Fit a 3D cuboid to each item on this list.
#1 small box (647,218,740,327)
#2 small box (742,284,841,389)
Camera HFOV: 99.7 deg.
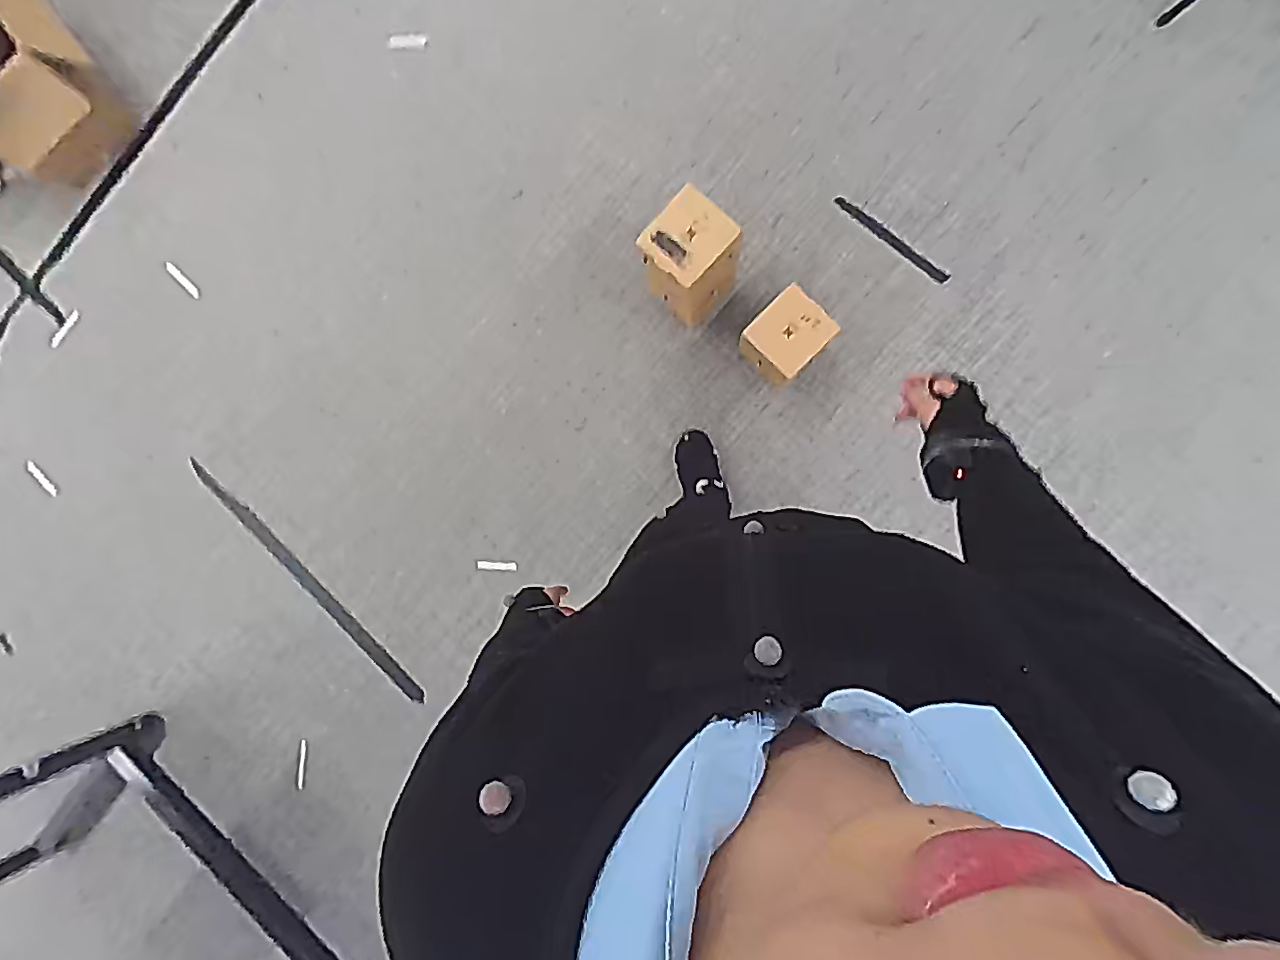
[{"bbox_3d":[0.140,-0.535,1.419,0.168,0.176,0.179,45,95,6],"label":"small box"},{"bbox_3d":[0.377,-0.355,1.381,0.179,0.176,0.168,-45,85,4],"label":"small box"}]
